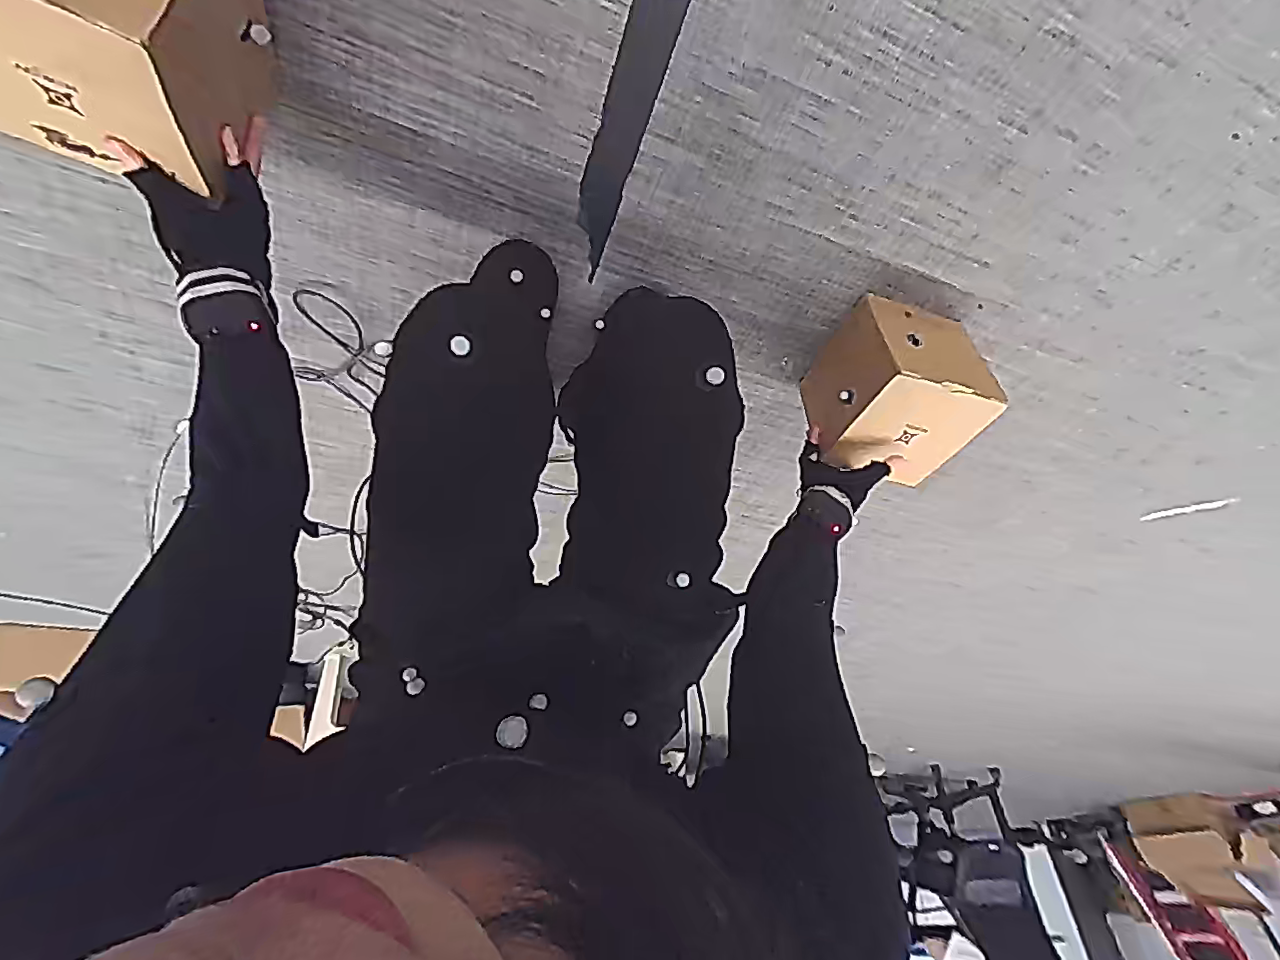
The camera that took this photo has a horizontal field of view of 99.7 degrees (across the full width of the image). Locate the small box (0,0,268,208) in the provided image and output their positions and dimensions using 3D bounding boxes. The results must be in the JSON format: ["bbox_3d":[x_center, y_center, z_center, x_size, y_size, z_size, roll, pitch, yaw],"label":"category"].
[{"bbox_3d":[-0.413,-0.361,0.408,0.168,0.176,0.179,17,161,-22],"label":"small box"}]

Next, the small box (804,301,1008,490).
[{"bbox_3d":[0.347,-0.116,0.749,0.168,0.176,0.179,13,140,-13],"label":"small box"}]
